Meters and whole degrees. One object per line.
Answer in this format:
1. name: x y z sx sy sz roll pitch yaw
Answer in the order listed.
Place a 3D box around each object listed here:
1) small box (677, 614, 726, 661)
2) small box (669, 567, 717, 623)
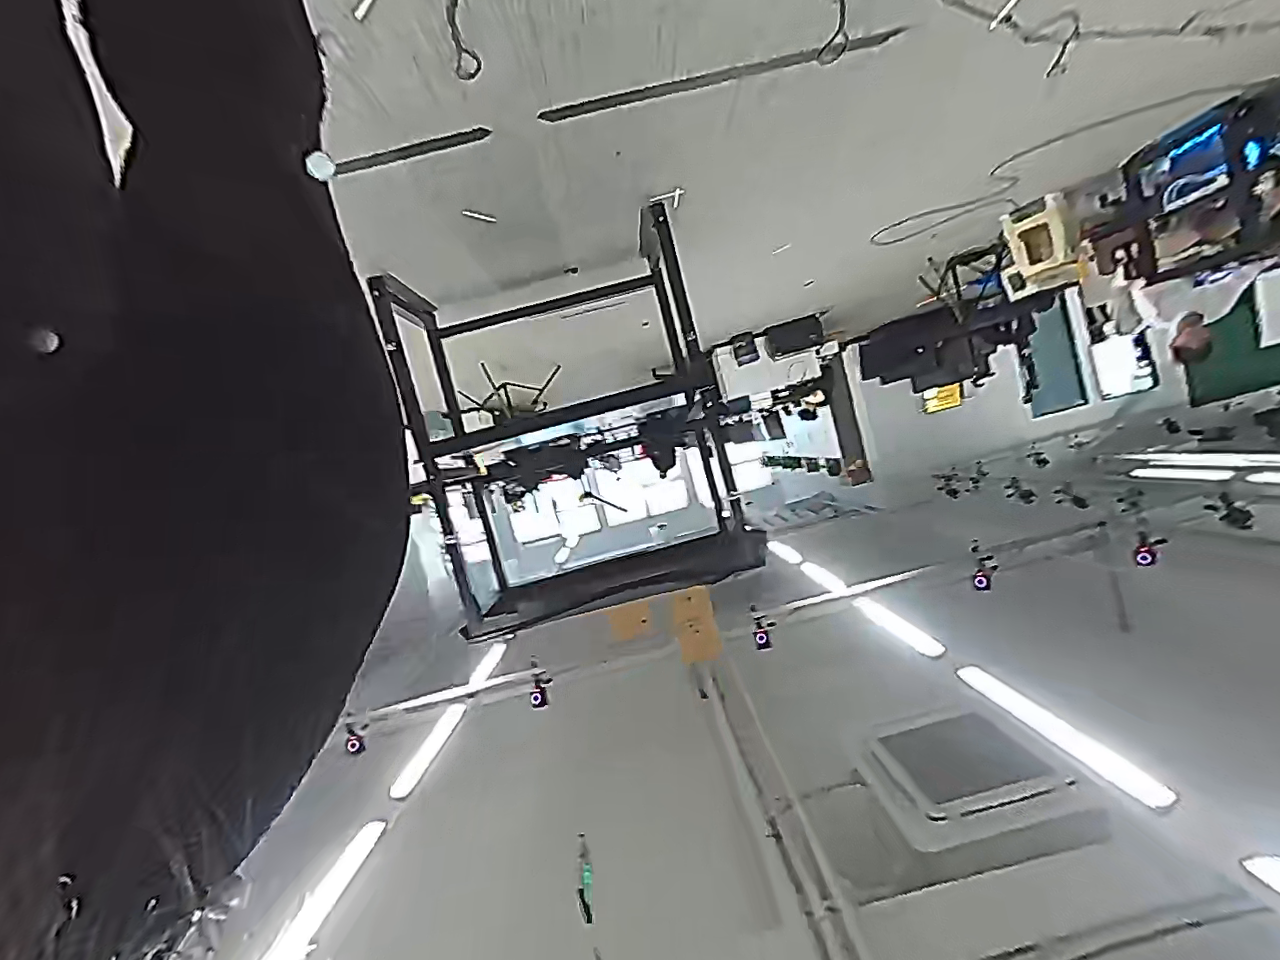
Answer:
1. small box: 0.259 0.641 2.301 0.168 0.176 0.179 -16 -176 3
2. small box: 0.218 0.481 2.287 0.168 0.176 0.179 -14 -176 4
